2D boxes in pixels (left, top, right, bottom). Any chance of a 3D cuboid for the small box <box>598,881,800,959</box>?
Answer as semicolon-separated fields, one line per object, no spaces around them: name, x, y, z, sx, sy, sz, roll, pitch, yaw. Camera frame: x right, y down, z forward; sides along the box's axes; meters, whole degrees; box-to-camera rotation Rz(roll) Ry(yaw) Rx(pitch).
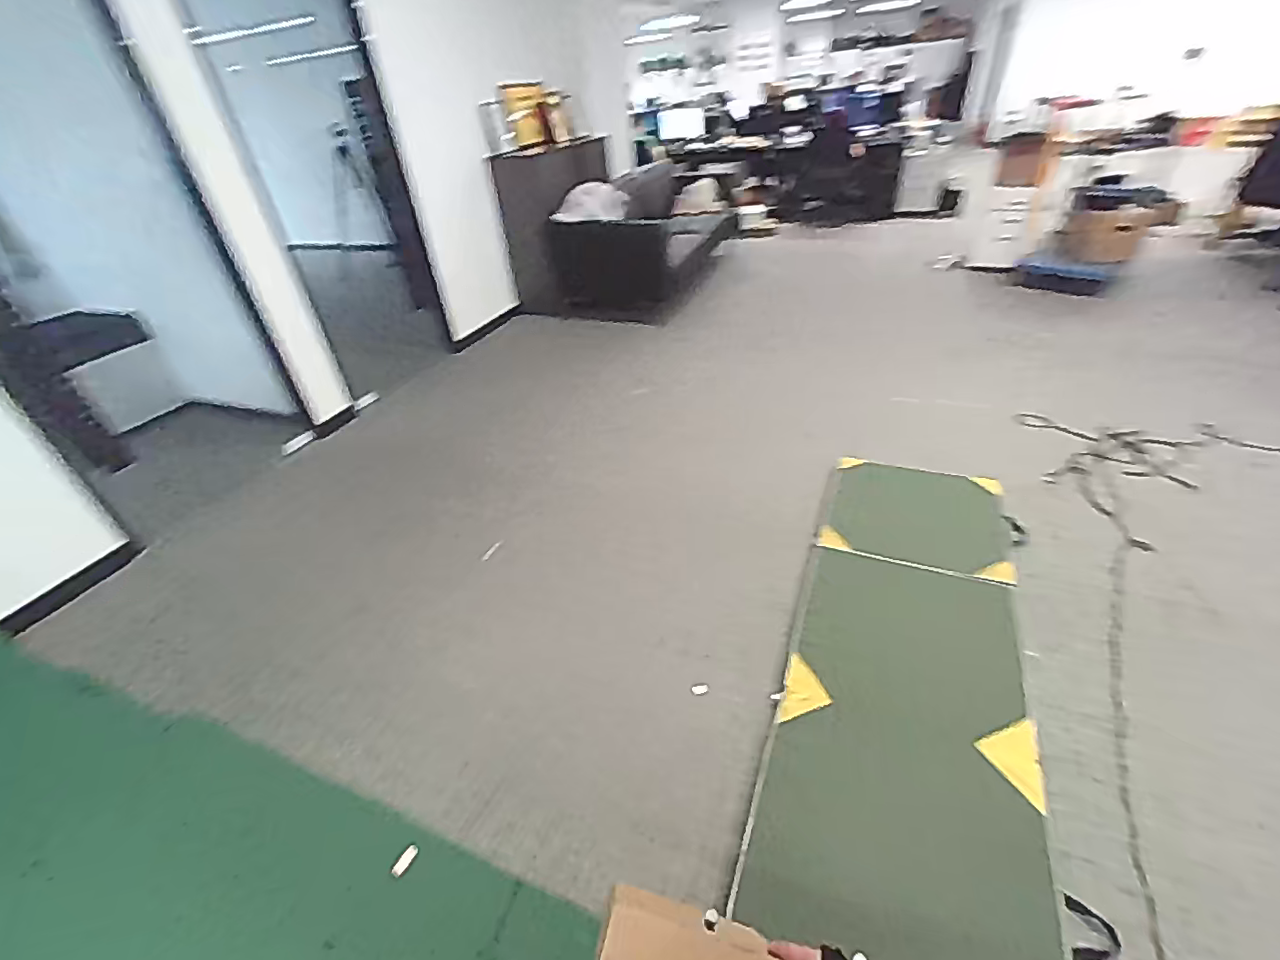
small box;0.041;0.516;0.524;0.179;0.176;0.168;16;58;7
